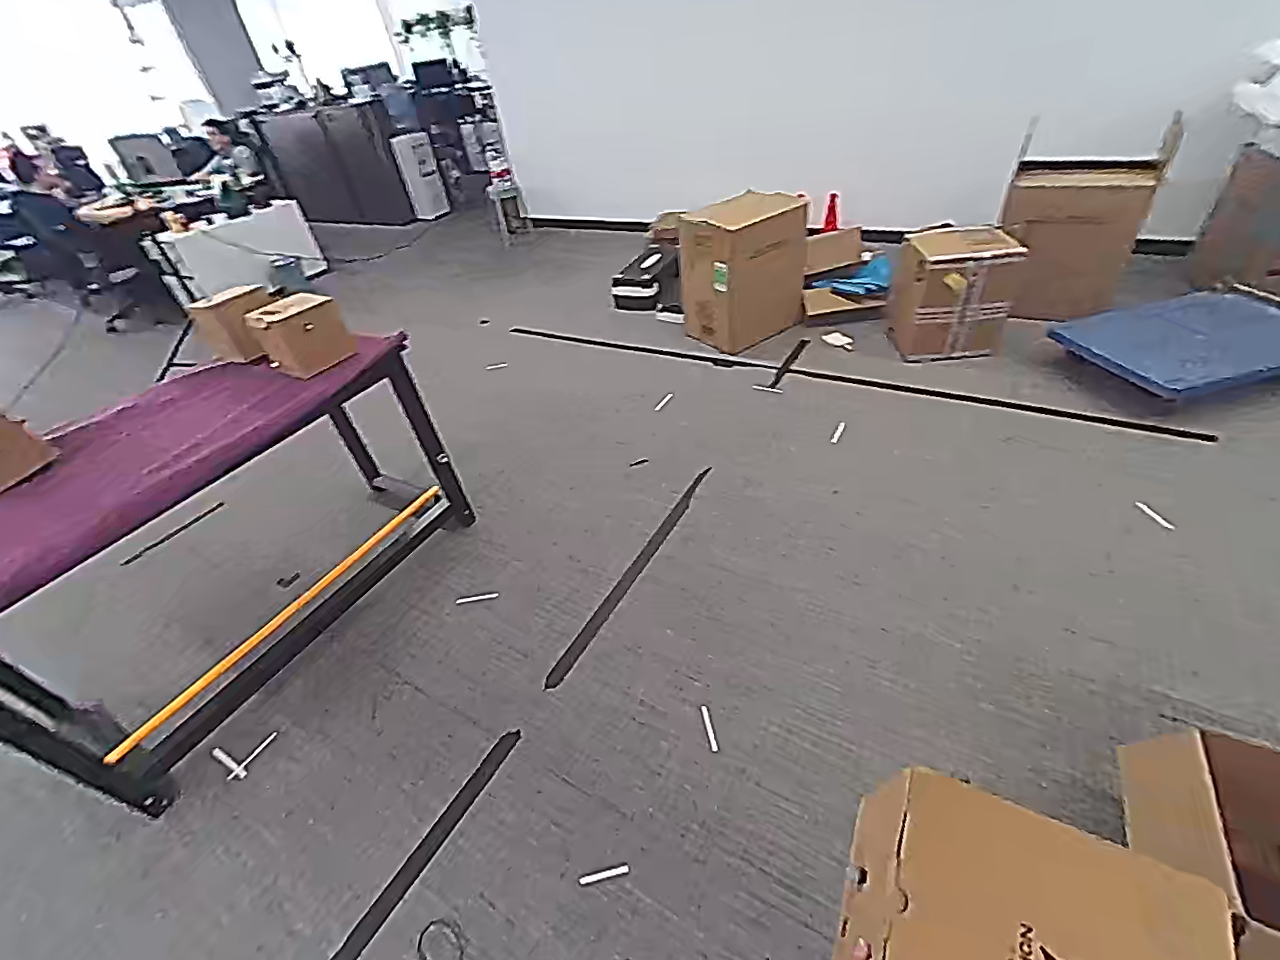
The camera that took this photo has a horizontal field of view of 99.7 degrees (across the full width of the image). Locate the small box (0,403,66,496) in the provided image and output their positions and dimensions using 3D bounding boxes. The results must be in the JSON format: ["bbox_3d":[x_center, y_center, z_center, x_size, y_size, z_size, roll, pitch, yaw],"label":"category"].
[{"bbox_3d":[-1.512,-0.079,1.244,0.176,0.168,0.179,18,54,30],"label":"small box"}]

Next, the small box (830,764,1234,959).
[{"bbox_3d":[0.241,0.324,0.366,0.179,0.176,0.168,15,55,20],"label":"small box"}]

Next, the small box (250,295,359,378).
[{"bbox_3d":[-0.954,-0.412,1.551,0.168,0.176,0.179,17,46,30],"label":"small box"}]
